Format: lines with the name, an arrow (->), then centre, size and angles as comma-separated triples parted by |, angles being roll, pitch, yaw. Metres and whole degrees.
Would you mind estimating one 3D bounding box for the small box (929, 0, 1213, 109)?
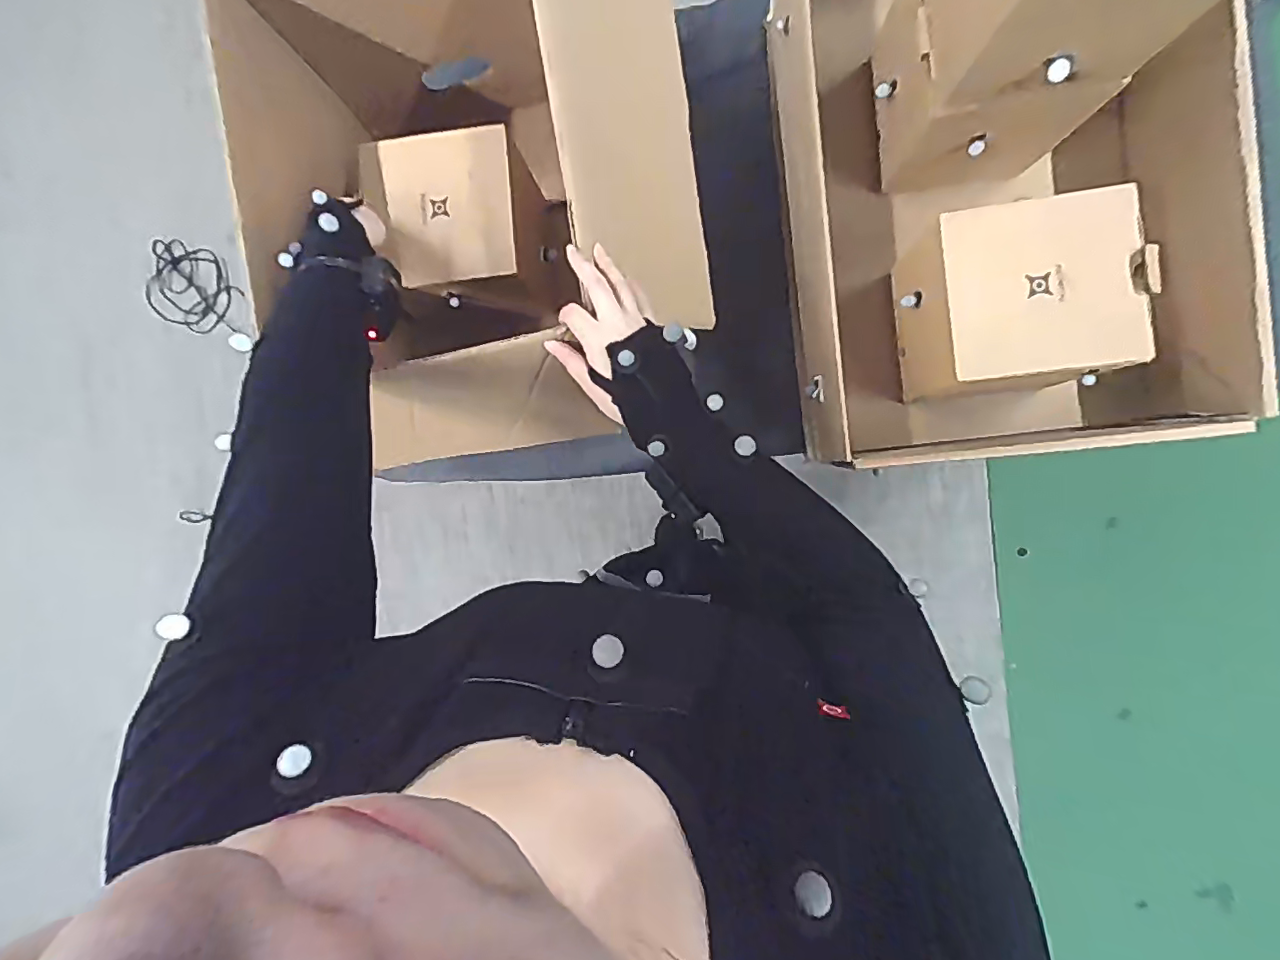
small box -> 0.346, -0.441, 0.427 | 0.168, 0.176, 0.179 | -5, 94, 6
